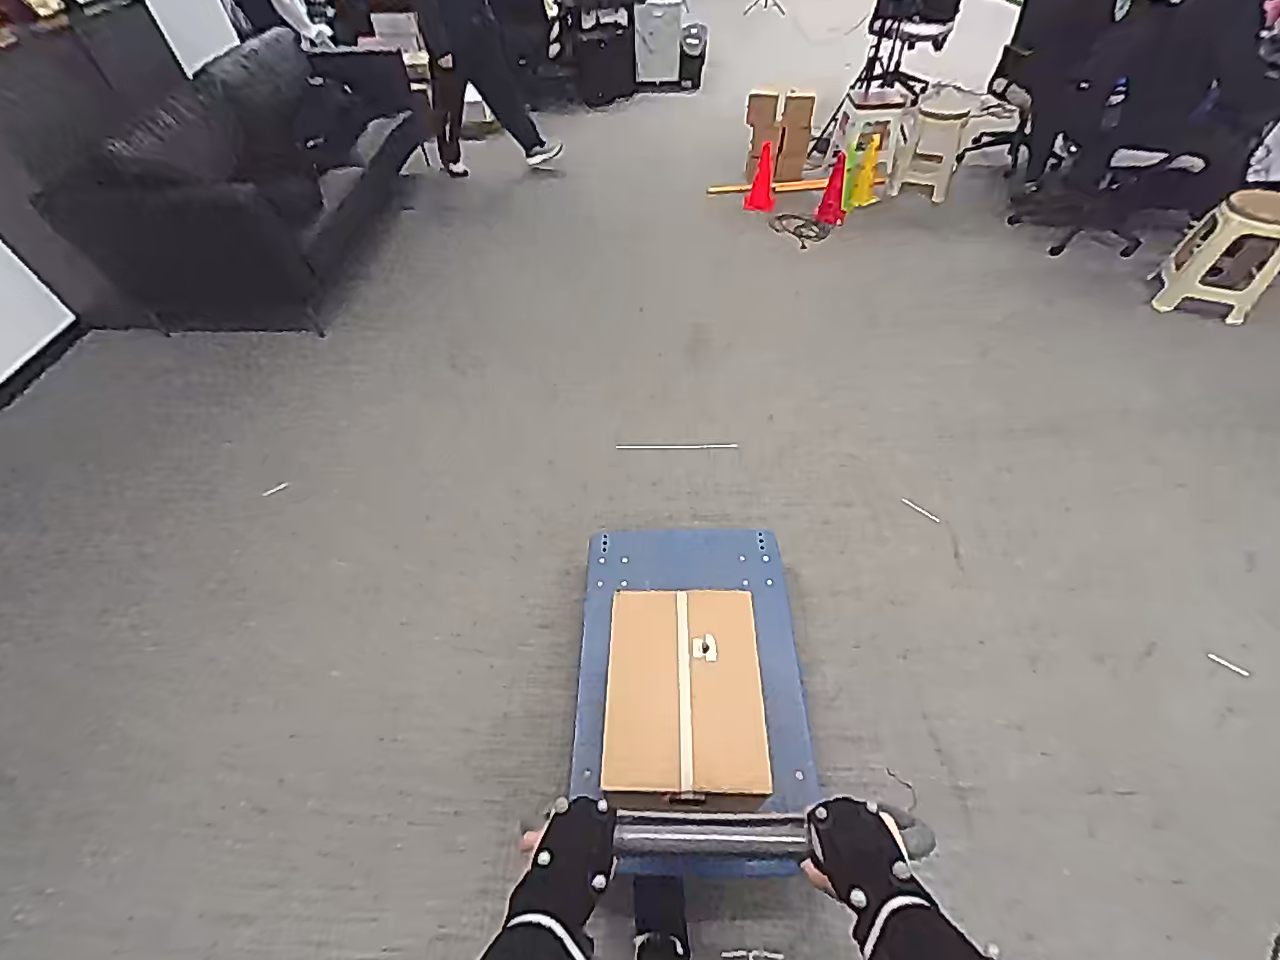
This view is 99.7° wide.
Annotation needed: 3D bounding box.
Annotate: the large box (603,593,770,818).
[{"bbox_3d":[0.095,0.510,1.228,0.320,0.320,0.408,0,49,2],"label":"large box"}]
